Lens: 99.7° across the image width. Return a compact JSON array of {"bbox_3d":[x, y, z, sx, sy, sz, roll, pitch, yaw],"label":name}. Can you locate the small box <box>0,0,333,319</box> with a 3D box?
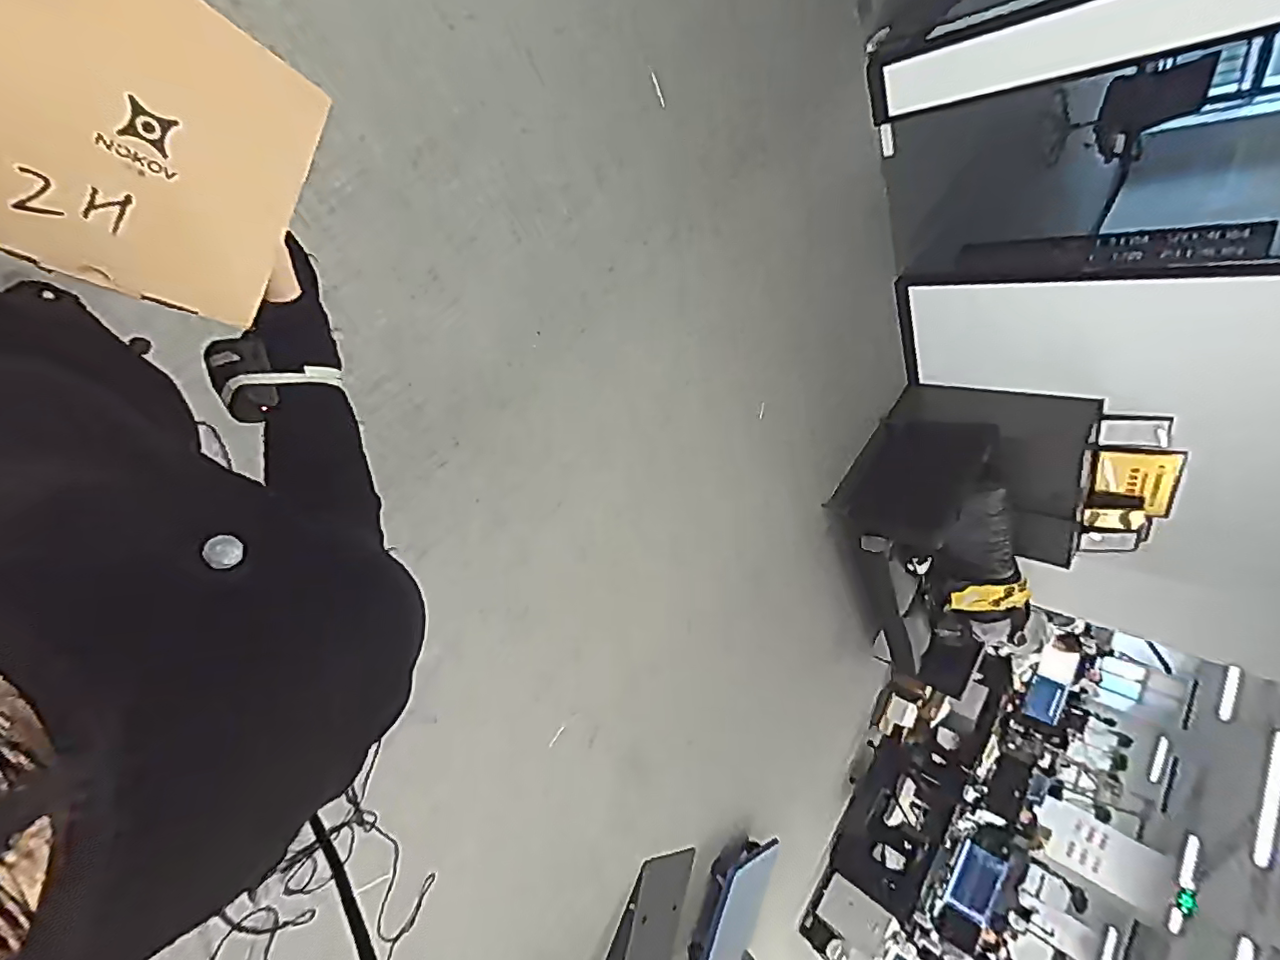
[{"bbox_3d":[-0.344,-0.233,0.343,0.168,0.176,0.179,17,98,-61],"label":"small box"}]
